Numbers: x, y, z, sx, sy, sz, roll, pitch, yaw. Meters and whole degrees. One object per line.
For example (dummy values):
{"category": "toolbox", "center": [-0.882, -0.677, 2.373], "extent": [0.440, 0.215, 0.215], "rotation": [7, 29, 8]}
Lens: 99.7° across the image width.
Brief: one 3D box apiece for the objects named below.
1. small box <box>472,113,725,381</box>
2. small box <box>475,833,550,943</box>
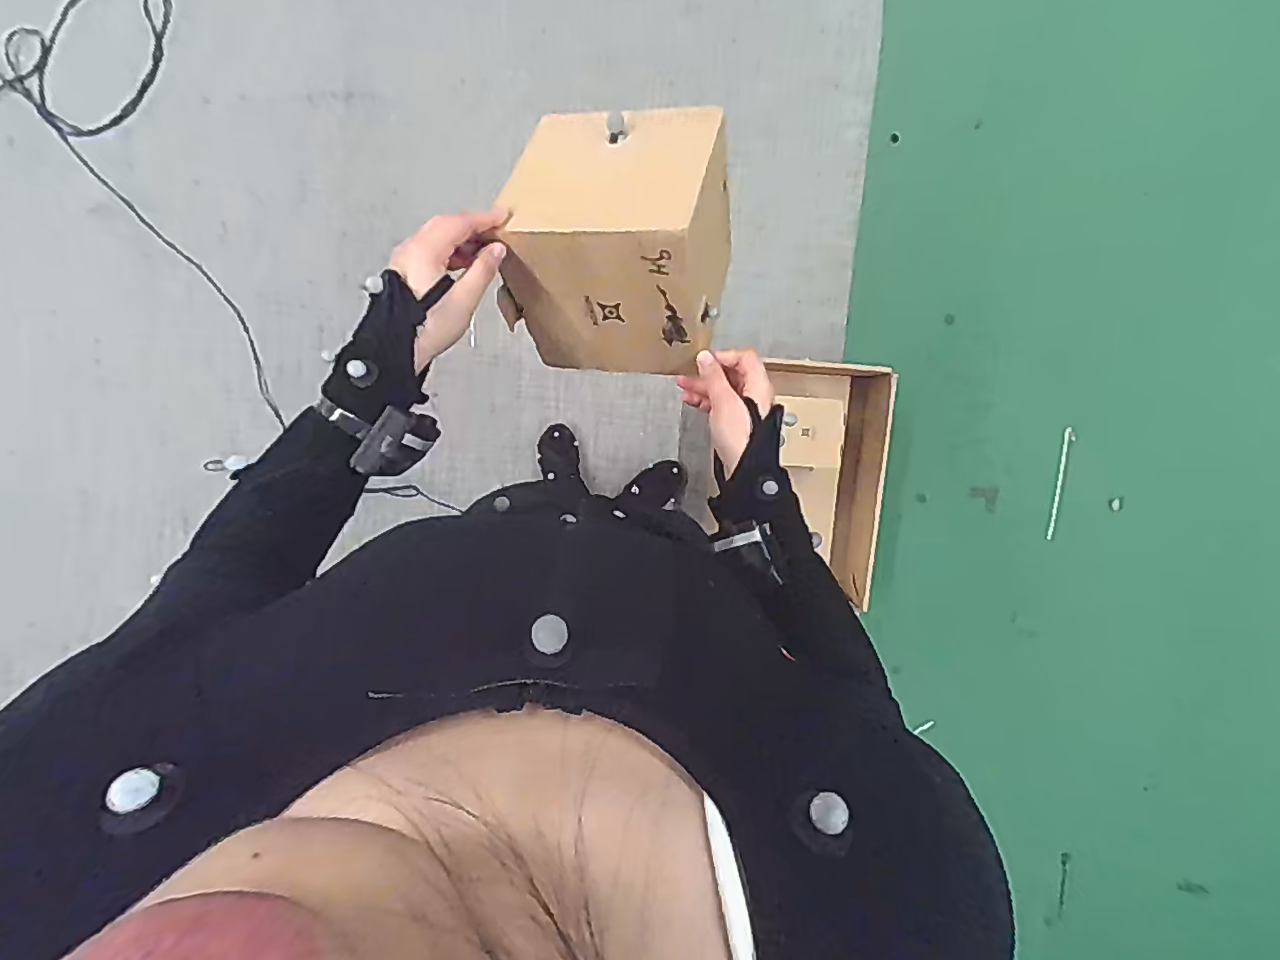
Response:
{"category": "small box", "center": [-0.022, -0.218, 0.516], "extent": [0.179, 0.168, 0.176], "rotation": [7, 62, 16]}
{"category": "small box", "center": [-0.356, 1.155, 1.539], "extent": [0.168, 0.176, 0.179], "rotation": [9, 97, -3]}
